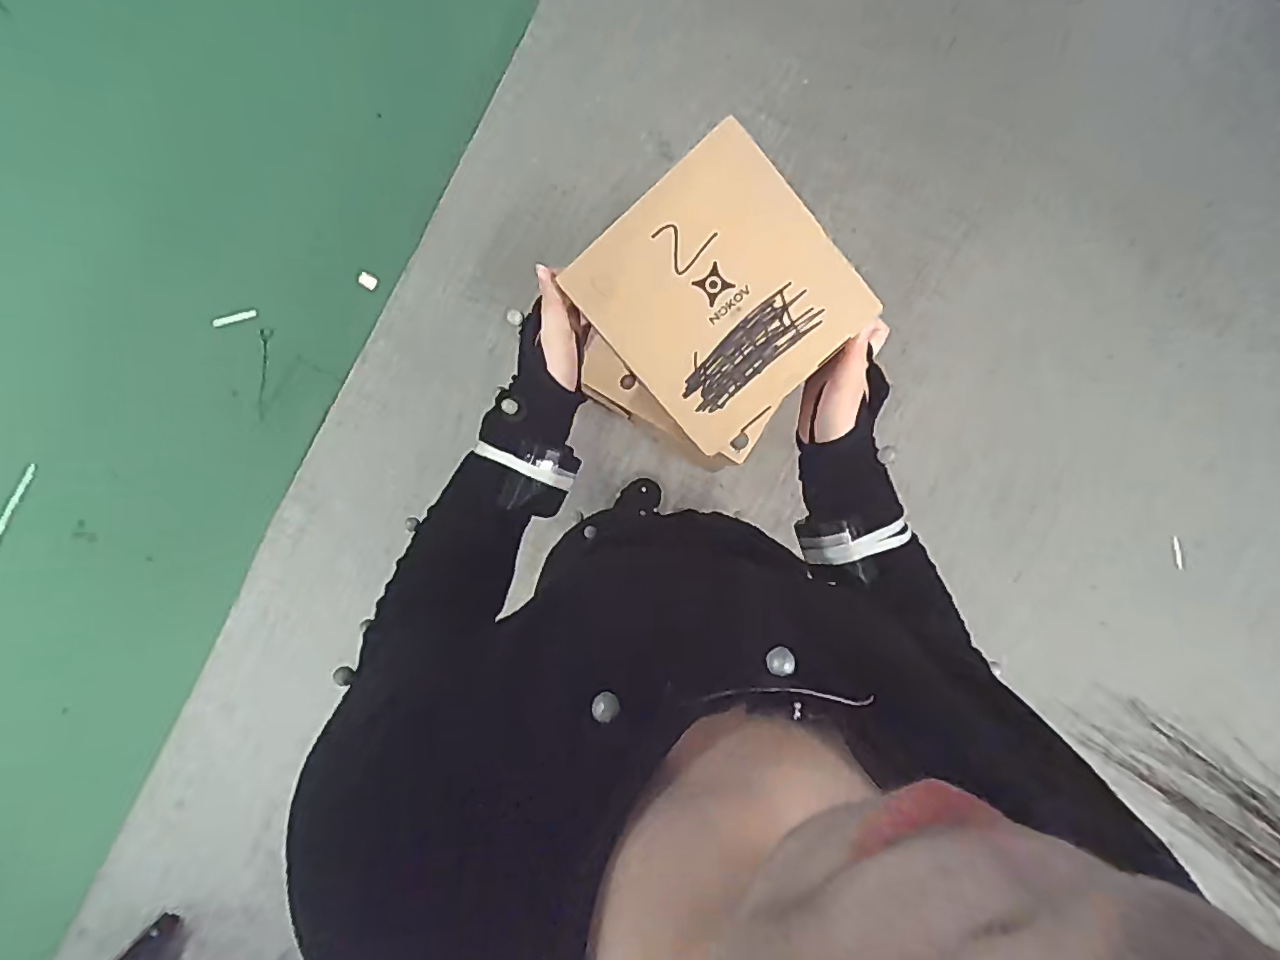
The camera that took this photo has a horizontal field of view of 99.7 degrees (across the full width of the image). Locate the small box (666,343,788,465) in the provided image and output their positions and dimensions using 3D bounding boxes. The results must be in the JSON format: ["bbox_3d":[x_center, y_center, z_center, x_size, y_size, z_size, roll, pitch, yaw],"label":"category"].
[{"bbox_3d":[0.166,-0.146,1.106,0.168,0.176,0.179,33,88,-2],"label":"small box"}]
